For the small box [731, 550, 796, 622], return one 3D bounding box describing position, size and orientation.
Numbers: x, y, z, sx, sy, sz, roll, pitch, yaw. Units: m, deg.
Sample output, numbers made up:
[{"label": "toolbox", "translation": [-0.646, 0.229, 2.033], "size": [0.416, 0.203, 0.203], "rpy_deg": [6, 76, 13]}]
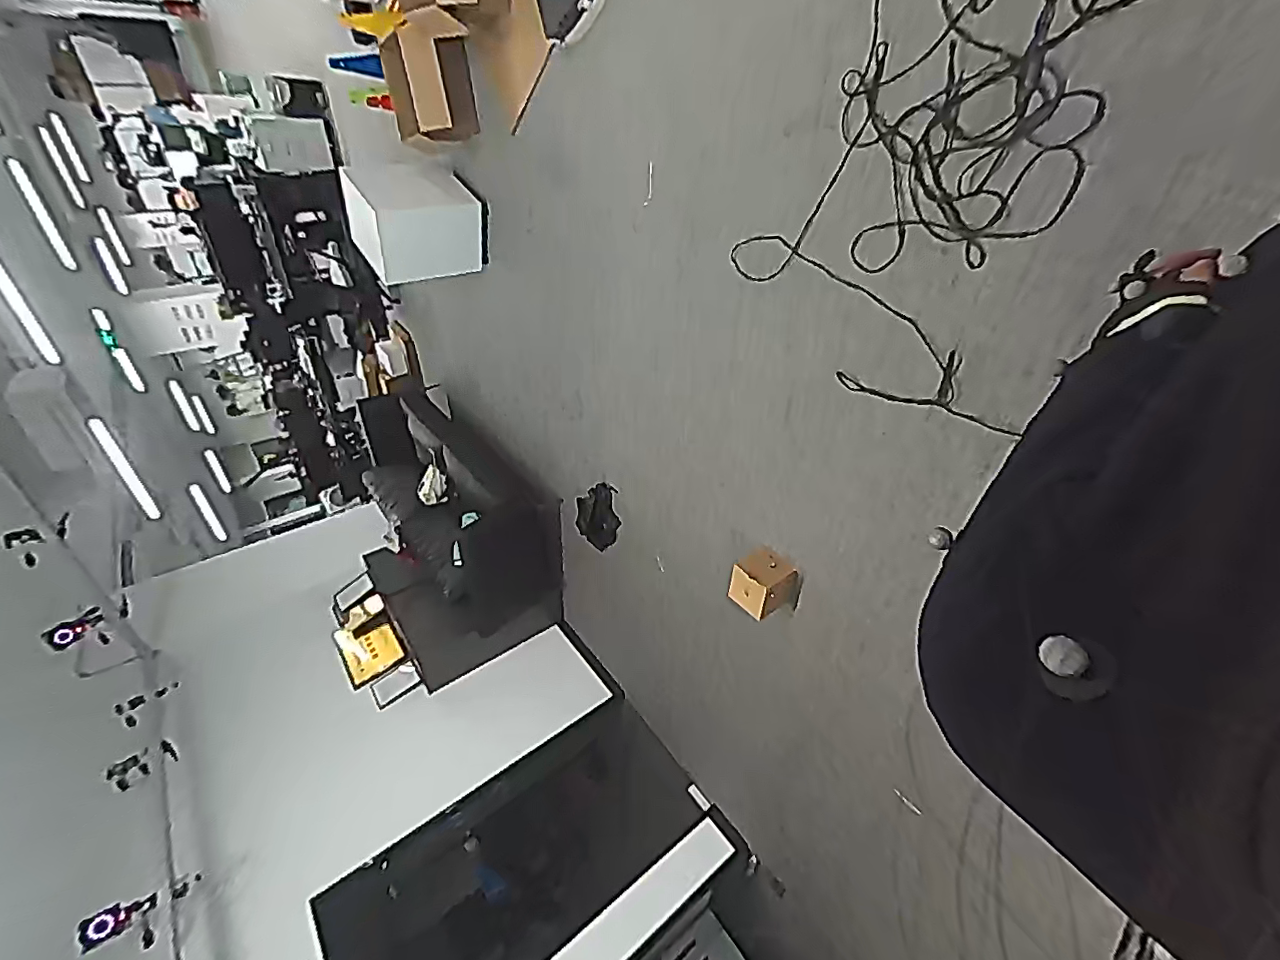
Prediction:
[{"label": "small box", "translation": [0.471, 0.399, 2.061], "size": [0.168, 0.176, 0.179], "rpy_deg": [38, 138, 40]}]
